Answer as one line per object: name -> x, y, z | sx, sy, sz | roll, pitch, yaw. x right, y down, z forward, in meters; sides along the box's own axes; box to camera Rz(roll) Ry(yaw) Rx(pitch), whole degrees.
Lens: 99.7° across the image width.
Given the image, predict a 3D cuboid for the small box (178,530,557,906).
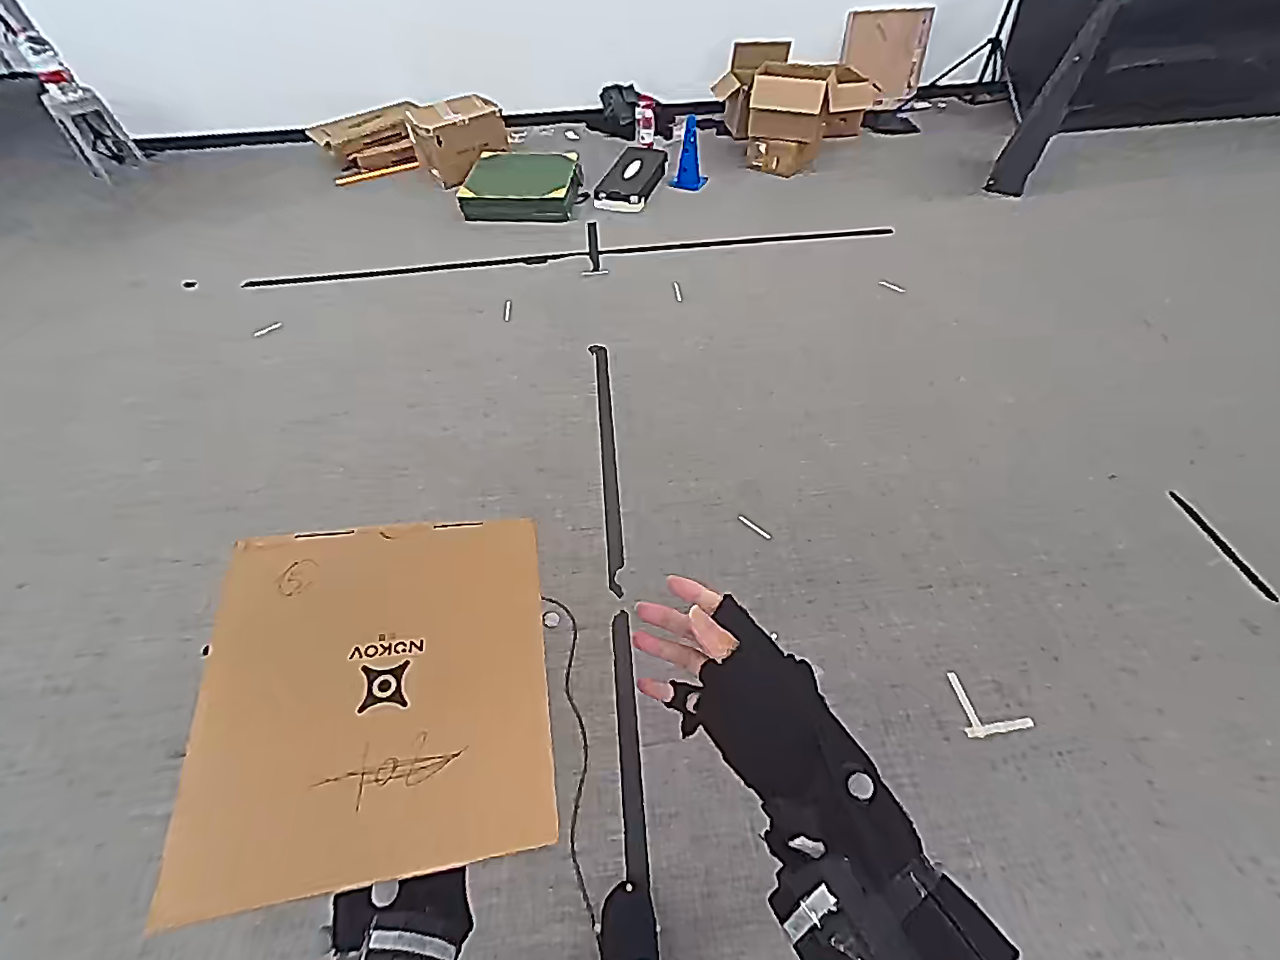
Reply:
small box -> -0.148, 0.151, 0.359 | 0.168, 0.176, 0.179 | -3, 59, -14
